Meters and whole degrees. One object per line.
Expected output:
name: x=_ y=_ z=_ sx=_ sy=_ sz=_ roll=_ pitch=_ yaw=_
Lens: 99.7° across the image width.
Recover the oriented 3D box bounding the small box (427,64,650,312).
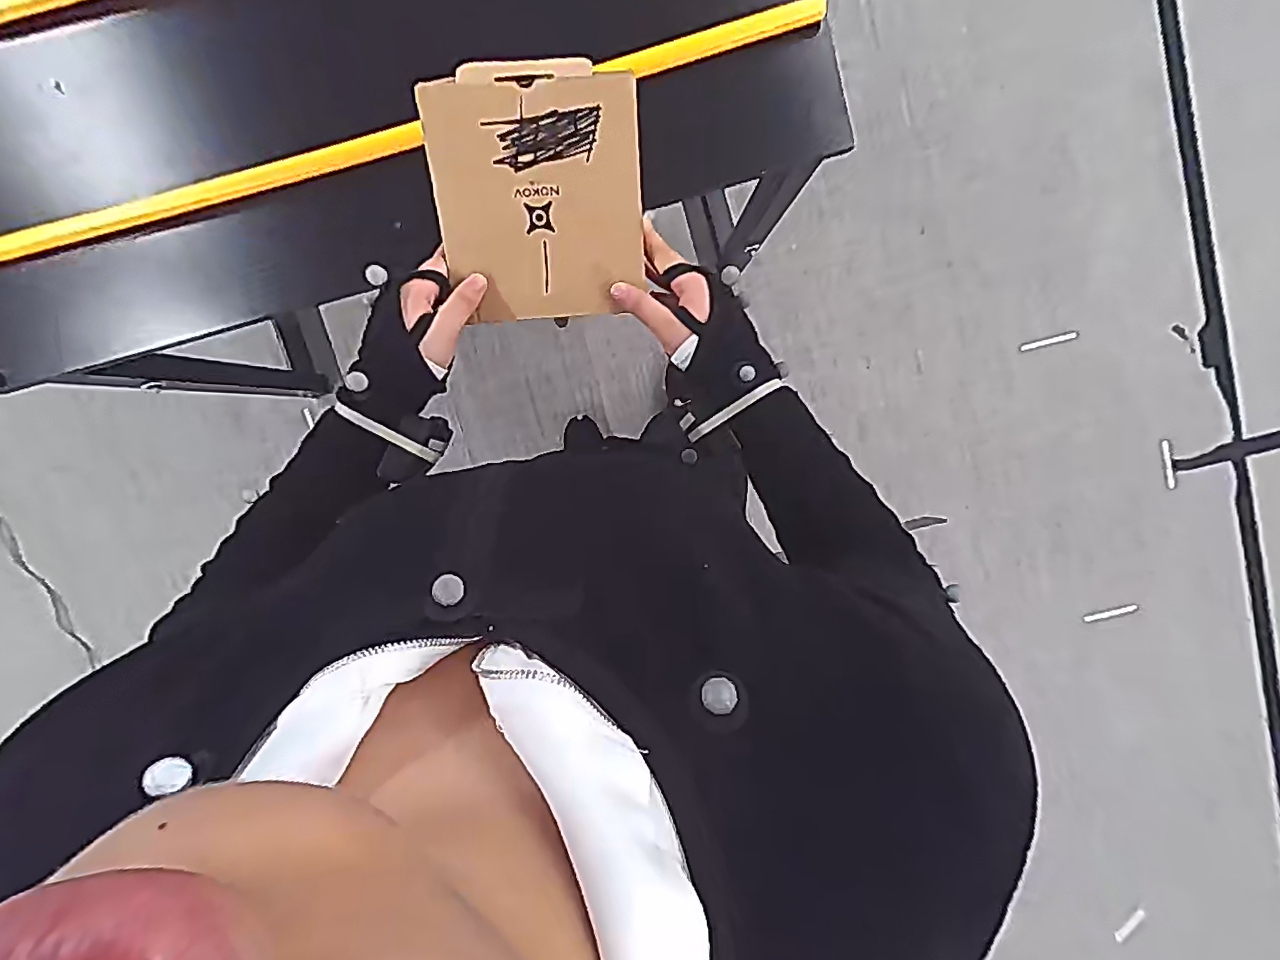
small box: x=-0.080 y=-0.255 z=0.511 sx=0.168 sy=0.176 sz=0.179 roll=-3 pitch=110 yaw=0
